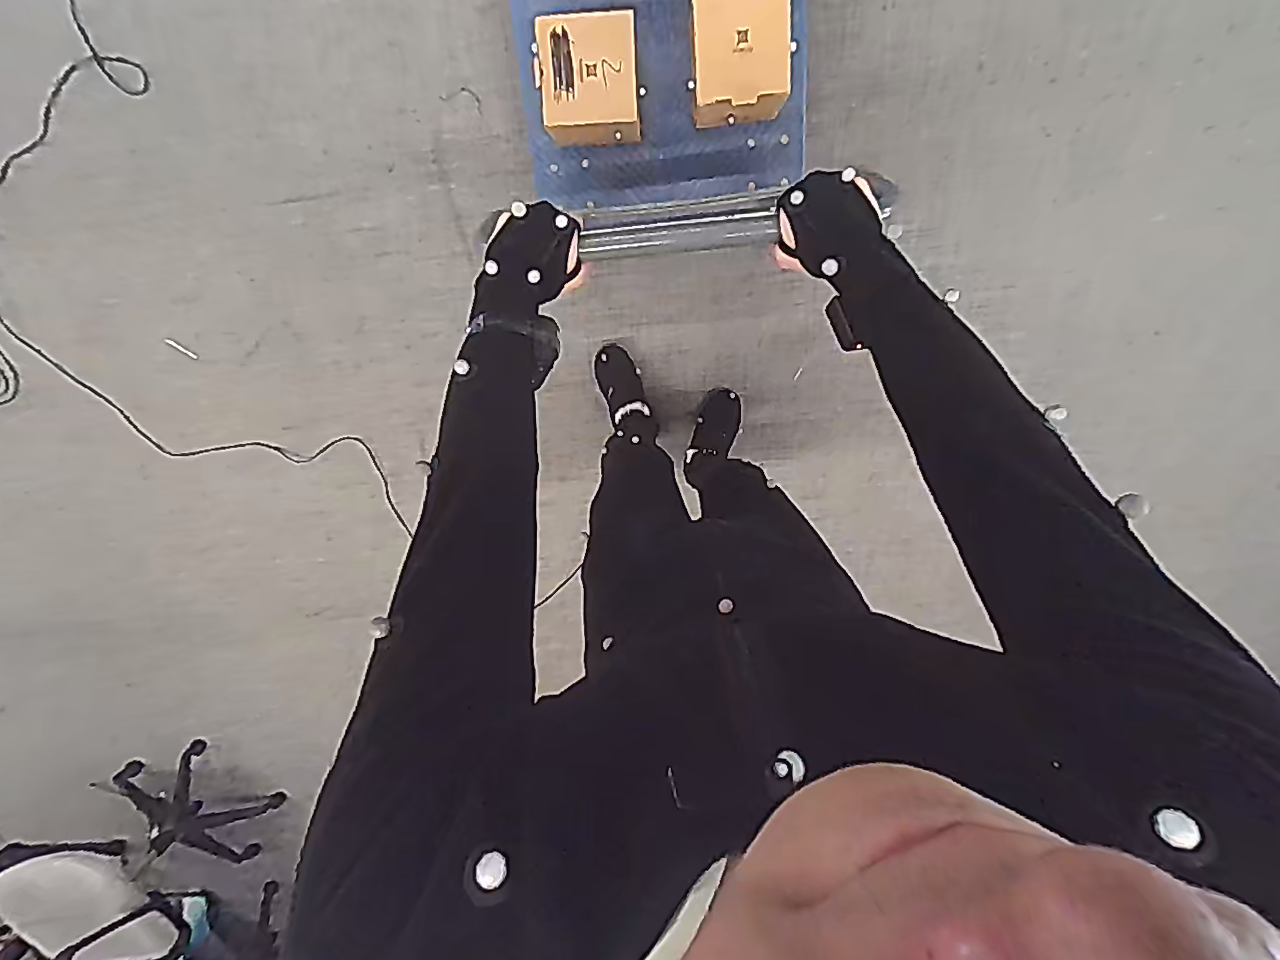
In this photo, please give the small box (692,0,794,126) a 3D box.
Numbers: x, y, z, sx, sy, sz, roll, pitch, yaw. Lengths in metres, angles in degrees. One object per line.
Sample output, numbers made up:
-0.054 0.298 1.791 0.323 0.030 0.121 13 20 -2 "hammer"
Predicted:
0.186 -0.792 1.011 0.168 0.176 0.179 -4 111 5 "small box"
